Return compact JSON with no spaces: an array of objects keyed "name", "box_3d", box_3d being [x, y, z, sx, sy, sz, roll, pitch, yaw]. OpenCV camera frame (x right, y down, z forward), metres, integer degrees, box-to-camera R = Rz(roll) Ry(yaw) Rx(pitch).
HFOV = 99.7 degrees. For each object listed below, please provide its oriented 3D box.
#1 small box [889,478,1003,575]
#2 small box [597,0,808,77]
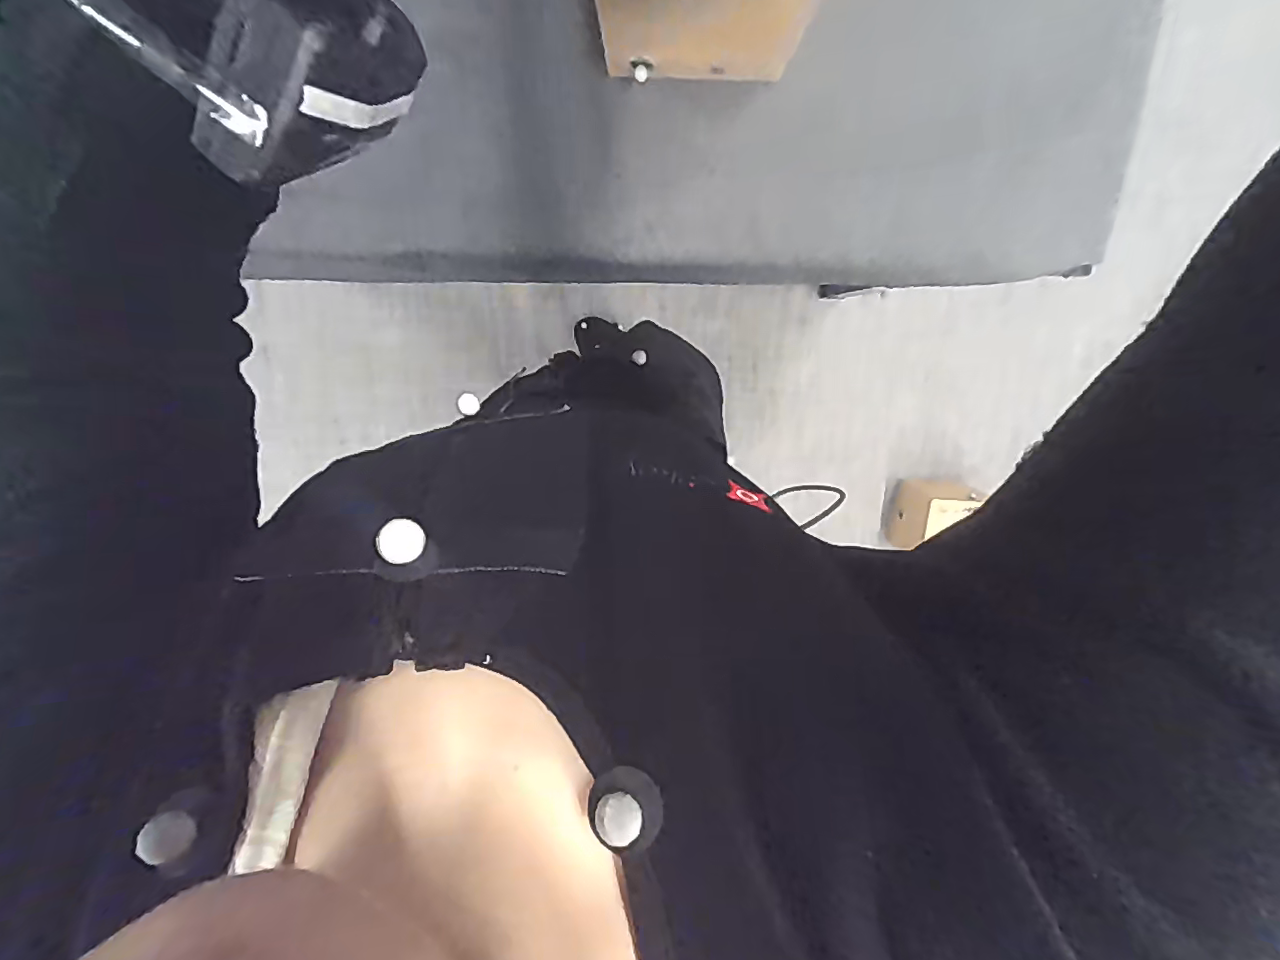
[{"name":"small box","box_3d":[0.726,0.108,1.307,0.168,0.176,0.179,4,107,1]},{"name":"small box","box_3d":[0.053,-0.445,0.417,0.168,0.176,0.179,3,105,1]}]
